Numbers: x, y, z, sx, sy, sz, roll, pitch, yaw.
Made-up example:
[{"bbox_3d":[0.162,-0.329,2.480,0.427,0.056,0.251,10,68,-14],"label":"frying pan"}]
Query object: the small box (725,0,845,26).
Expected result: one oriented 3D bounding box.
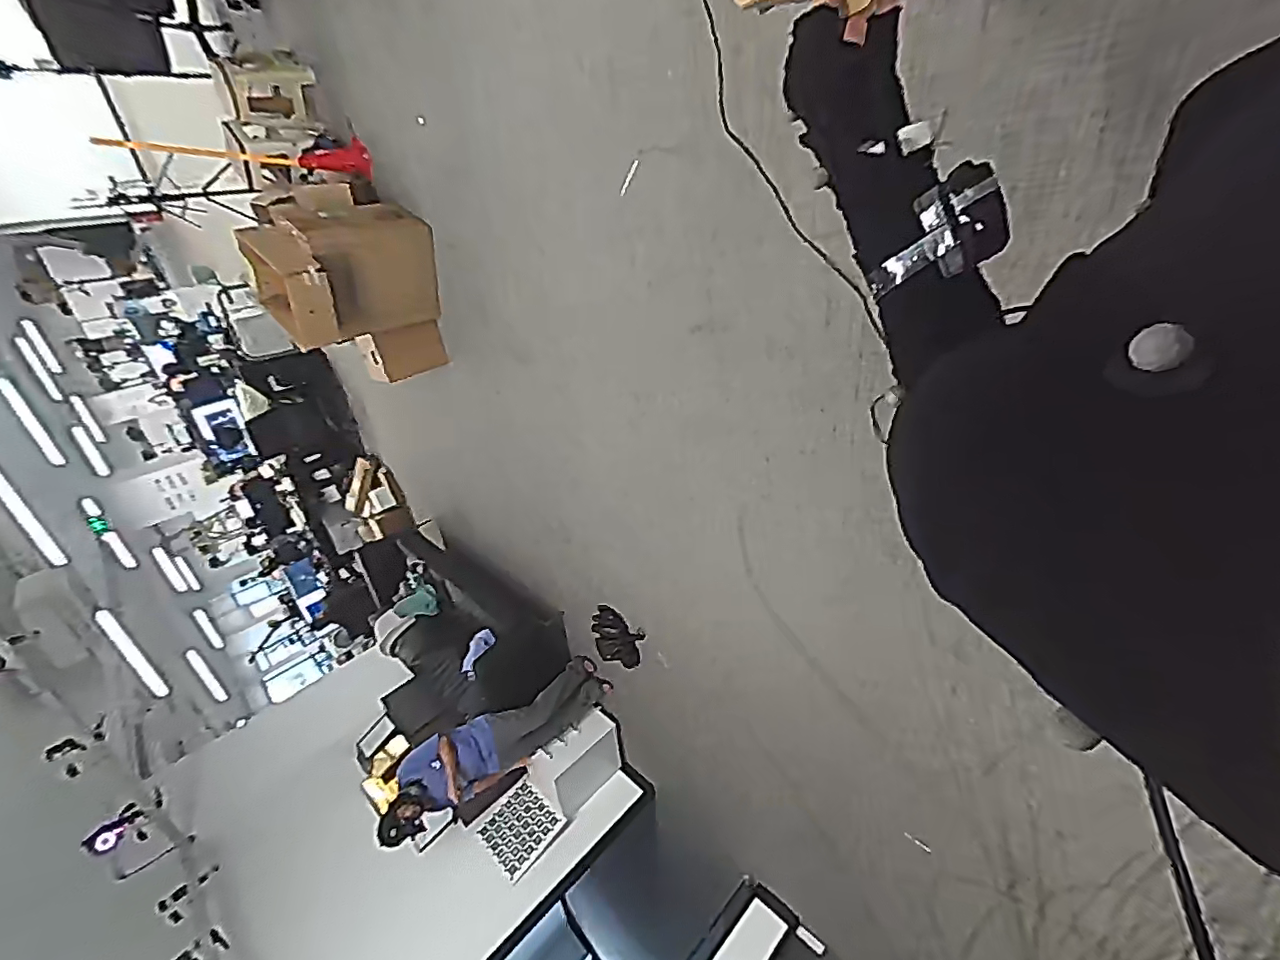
[{"bbox_3d":[0.157,-0.464,0.379,0.168,0.176,0.179,11,130,44],"label":"small box"}]
